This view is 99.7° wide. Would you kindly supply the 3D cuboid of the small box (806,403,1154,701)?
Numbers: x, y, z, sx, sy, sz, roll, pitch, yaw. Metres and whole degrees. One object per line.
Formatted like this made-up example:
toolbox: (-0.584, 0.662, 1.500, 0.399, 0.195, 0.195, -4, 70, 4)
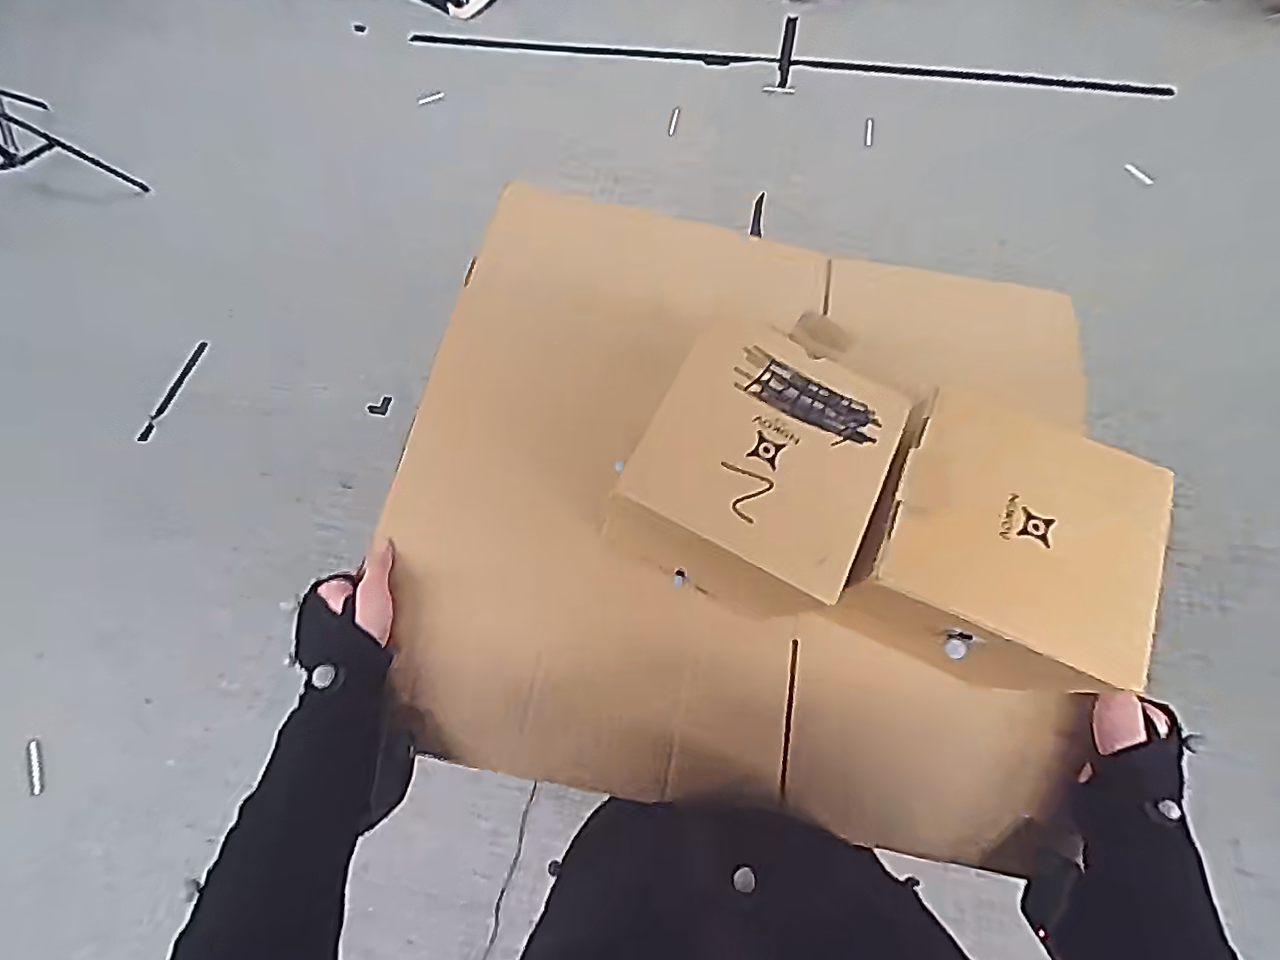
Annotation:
small box: (0.267, 0.067, 0.461, 0.179, 0.176, 0.168, 23, 72, 9)
